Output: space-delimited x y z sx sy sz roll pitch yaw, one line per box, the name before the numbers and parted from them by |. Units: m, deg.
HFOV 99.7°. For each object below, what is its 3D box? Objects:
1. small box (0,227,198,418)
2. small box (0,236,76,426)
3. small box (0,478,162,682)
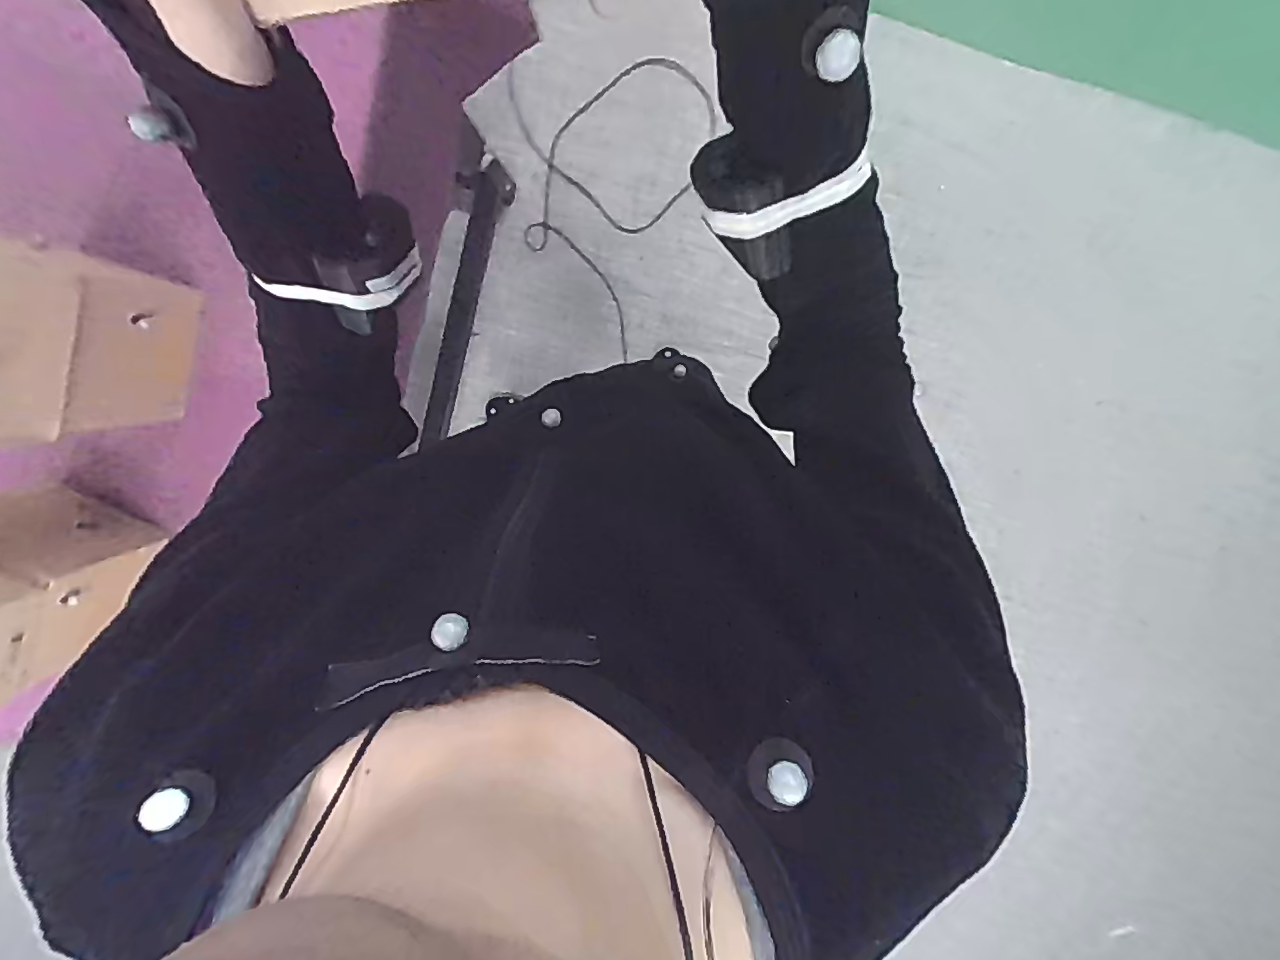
small box | -0.681 -0.188 0.646 0.168 0.176 0.179 18 102 -3
small box | -0.676 -0.150 0.486 0.168 0.176 0.179 21 101 -4
small box | -0.792 0.120 0.710 0.168 0.176 0.179 27 100 -5
